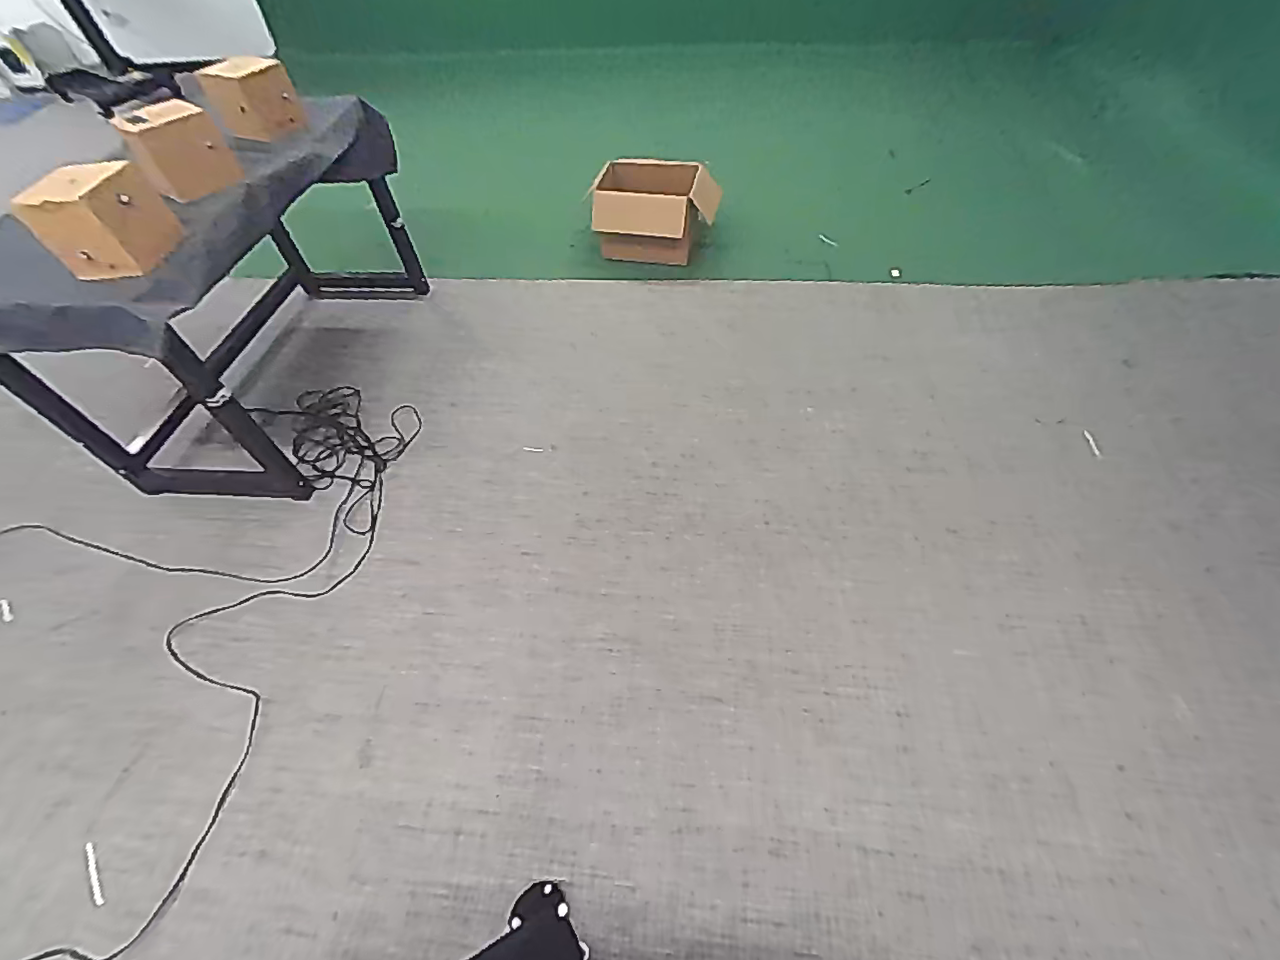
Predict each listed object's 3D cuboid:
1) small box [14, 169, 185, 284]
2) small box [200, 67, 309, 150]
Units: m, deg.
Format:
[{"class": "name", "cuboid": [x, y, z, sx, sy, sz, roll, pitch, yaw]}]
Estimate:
[{"class": "small box", "cuboid": [-1.160, -0.552, 1.184, 0.168, 0.176, 0.179, -2, 52, 5]}, {"class": "small box", "cuboid": [-1.168, -1.134, 1.653, 0.179, 0.176, 0.168, 16, 53, 18]}]
